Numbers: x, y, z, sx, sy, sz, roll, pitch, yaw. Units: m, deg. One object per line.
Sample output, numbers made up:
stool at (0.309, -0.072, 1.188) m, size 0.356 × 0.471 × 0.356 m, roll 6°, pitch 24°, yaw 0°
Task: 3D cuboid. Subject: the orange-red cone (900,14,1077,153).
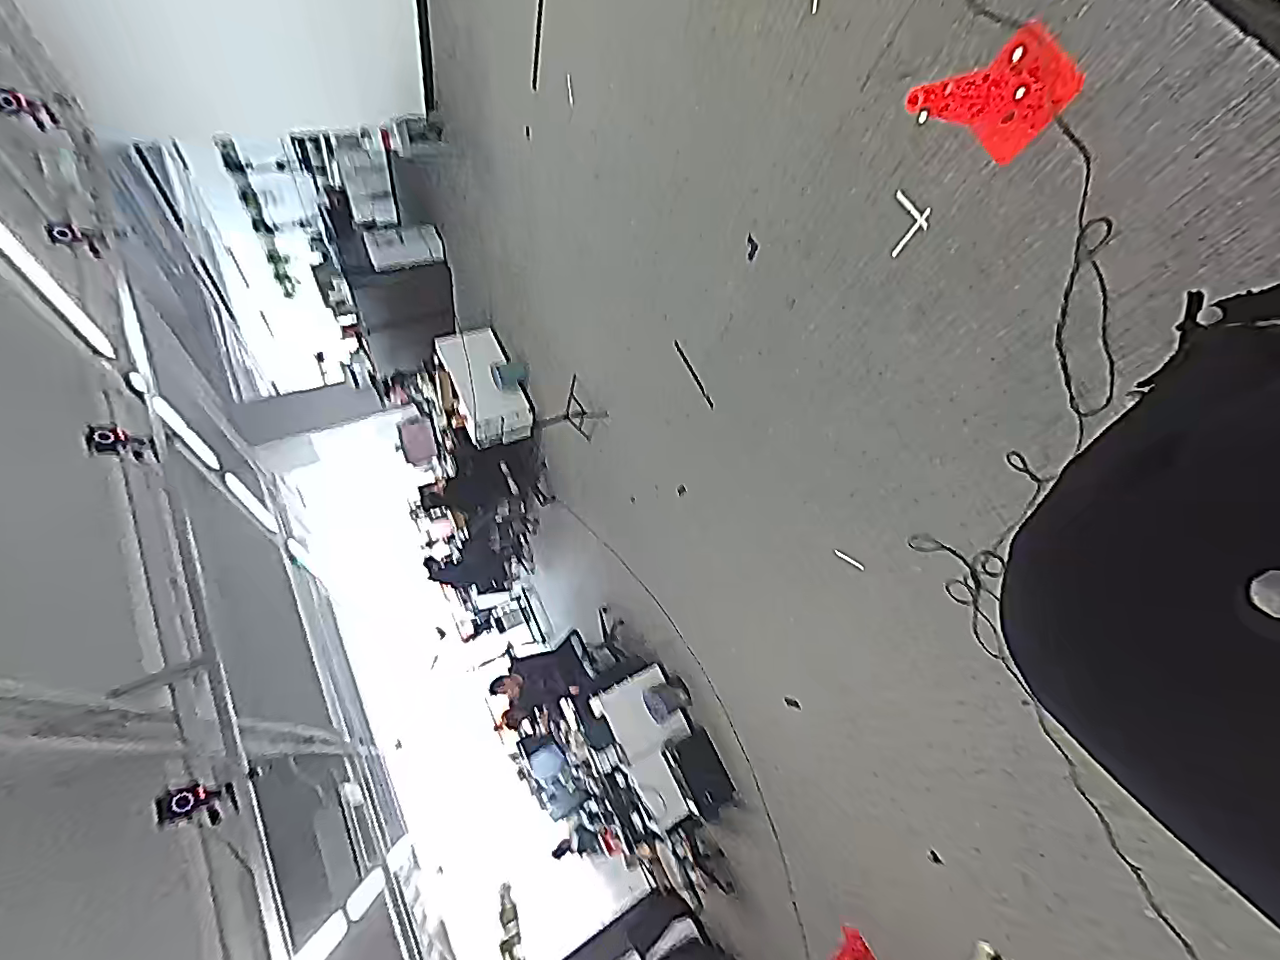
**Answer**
orange-red cone at (0.676, -0.812, 1.124) m, size 0.198 × 0.360 × 0.199 m, roll 65°, pitch 157°, yaw 12°
